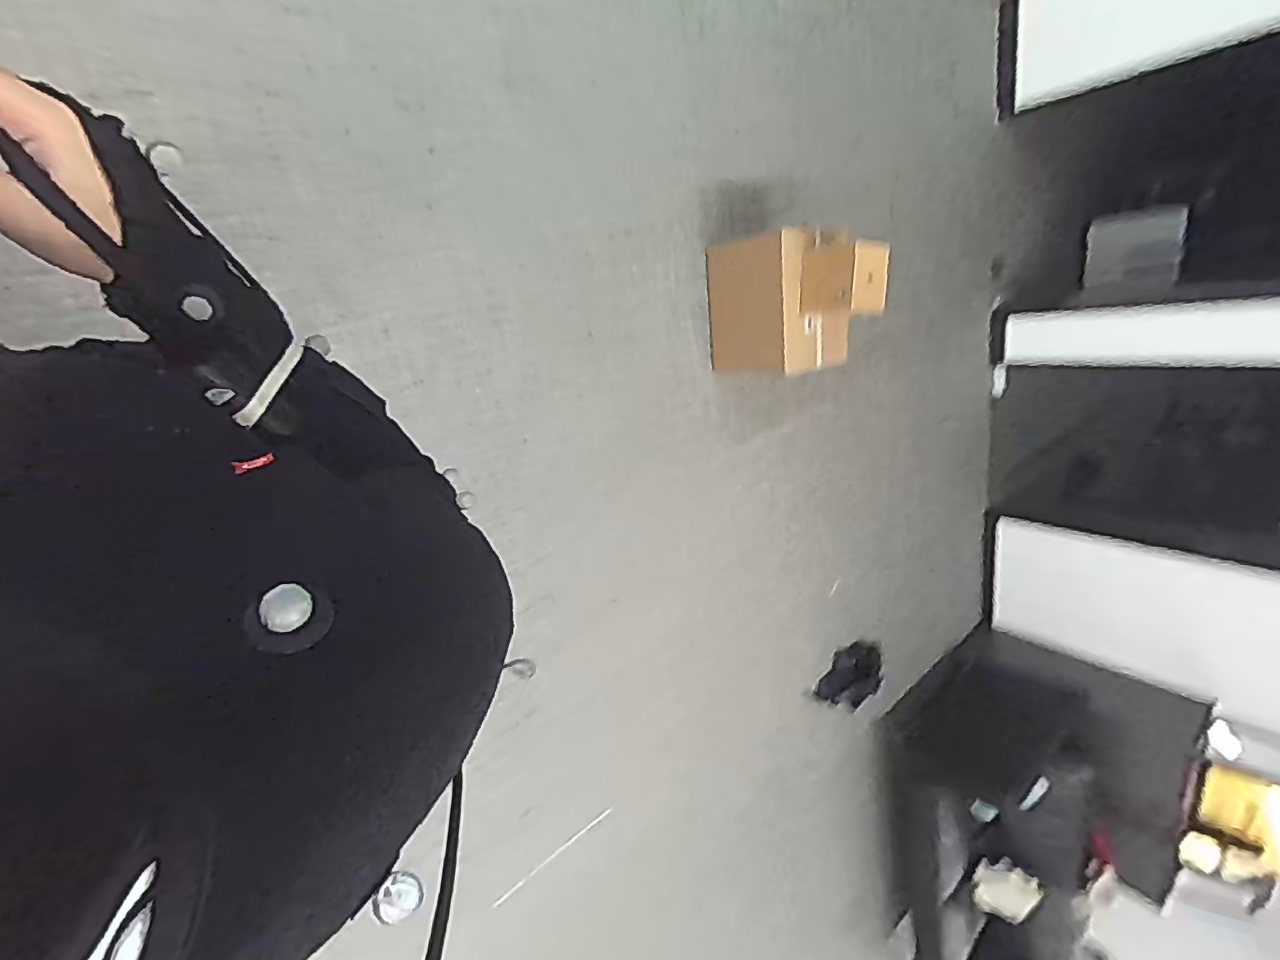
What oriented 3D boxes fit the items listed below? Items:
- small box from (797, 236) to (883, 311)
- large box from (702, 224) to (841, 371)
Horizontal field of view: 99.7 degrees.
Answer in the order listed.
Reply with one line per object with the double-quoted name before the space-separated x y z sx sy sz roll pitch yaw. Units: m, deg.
"small box" 0.564 -0.578 1.534 0.168 0.176 0.179 -12 108 -35
"large box" 0.423 -0.581 1.737 0.320 0.320 0.408 -18 112 -32
